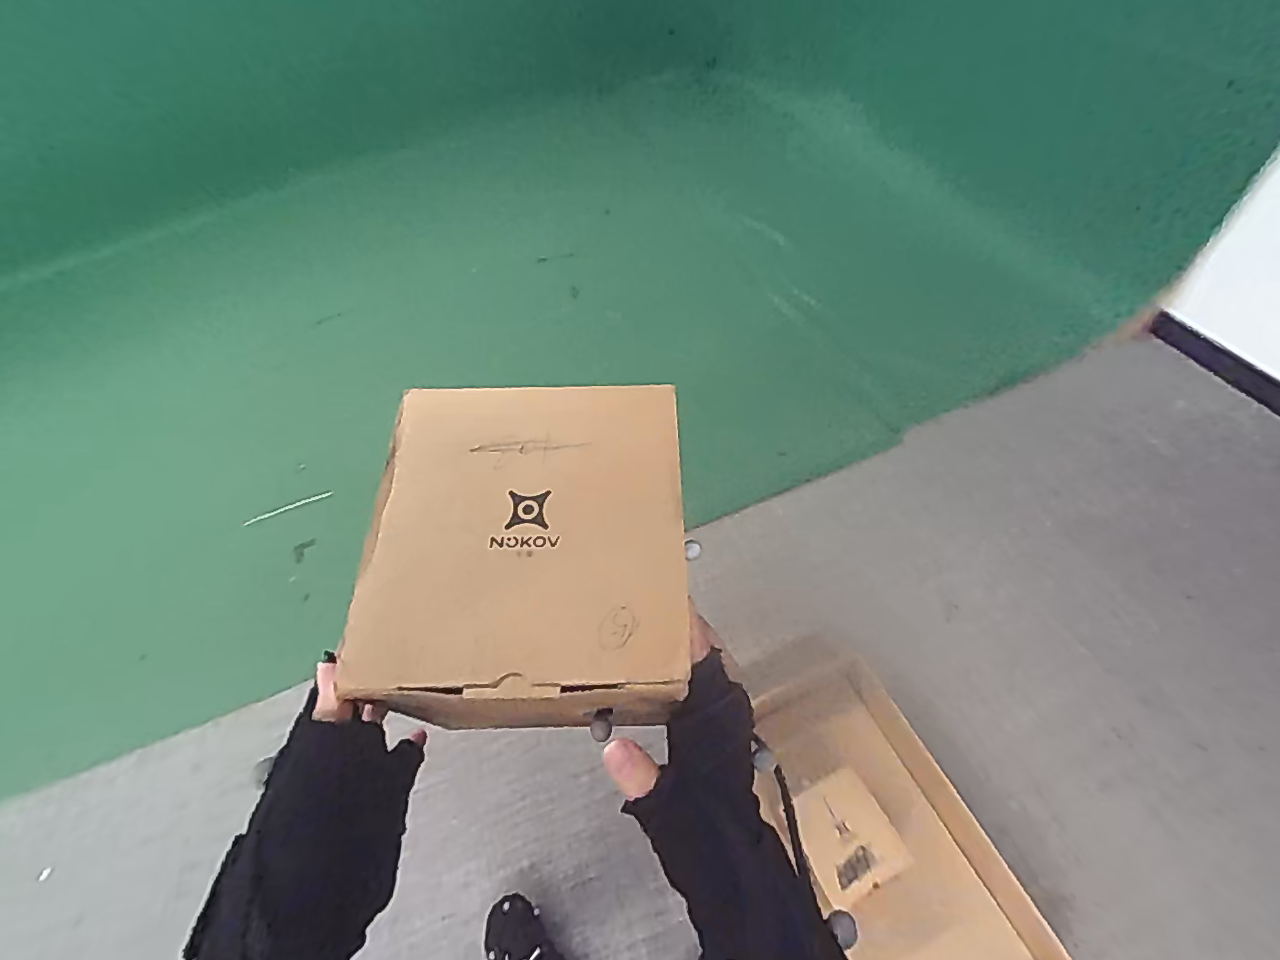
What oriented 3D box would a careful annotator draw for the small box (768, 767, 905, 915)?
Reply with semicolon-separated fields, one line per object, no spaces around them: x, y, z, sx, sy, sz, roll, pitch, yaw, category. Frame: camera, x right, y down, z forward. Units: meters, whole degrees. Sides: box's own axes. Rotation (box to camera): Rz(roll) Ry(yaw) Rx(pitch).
0.360;0.679;1.025;0.168;0.176;0.179;-24;54;-8;small box
